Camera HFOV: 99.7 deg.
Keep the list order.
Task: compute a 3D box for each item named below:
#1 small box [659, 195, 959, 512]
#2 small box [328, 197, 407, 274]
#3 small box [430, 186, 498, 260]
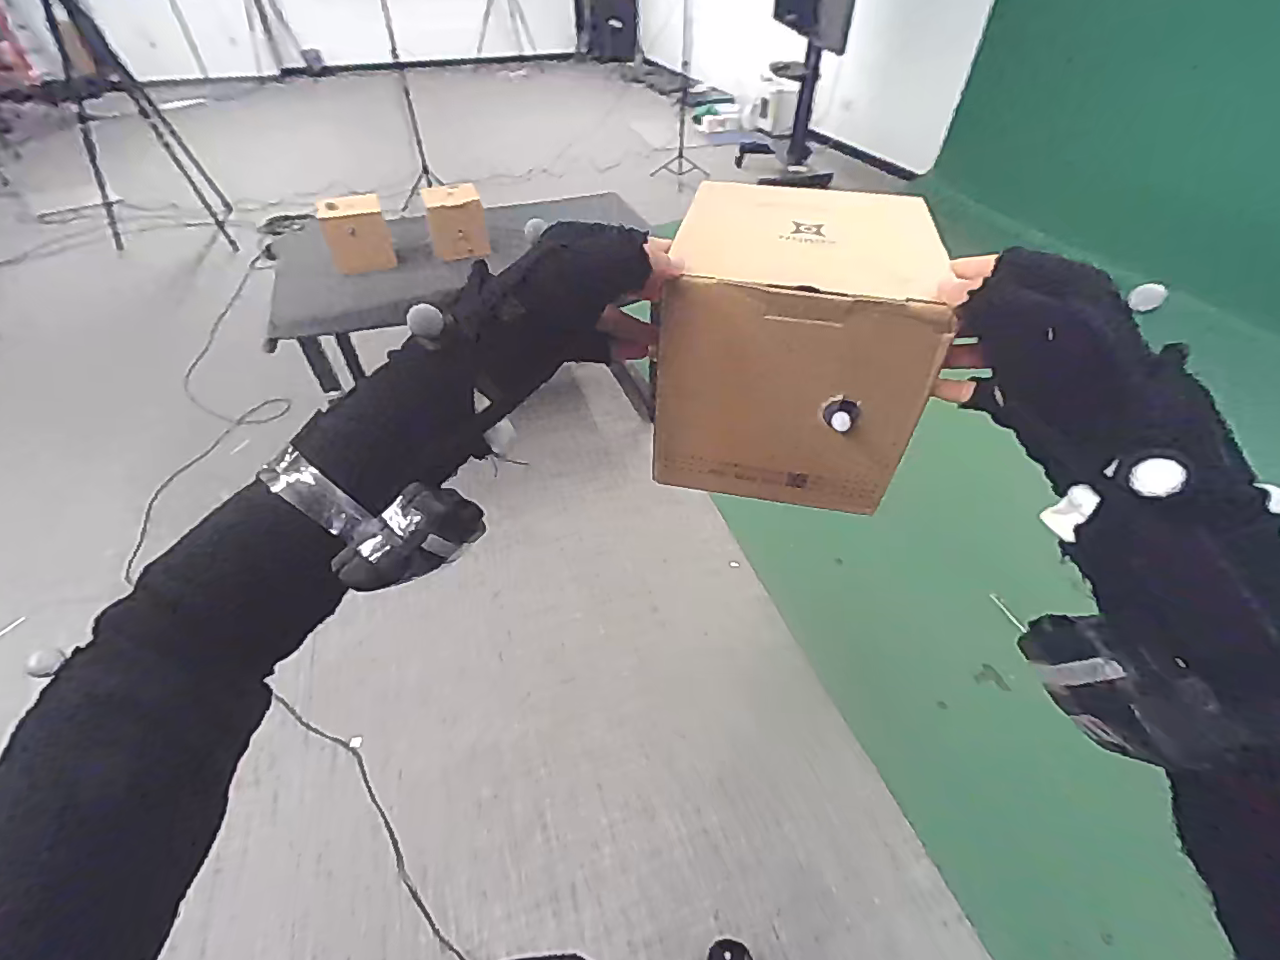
[{"bbox_3d":[0.108,-0.098,0.413,0.168,0.176,0.179,9,44,7],"label":"small box"},{"bbox_3d":[-0.840,-0.753,1.669,0.179,0.176,0.168,-16,47,-17],"label":"small box"},{"bbox_3d":[-0.564,-0.822,1.742,0.168,0.176,0.179,-15,47,-15],"label":"small box"}]
